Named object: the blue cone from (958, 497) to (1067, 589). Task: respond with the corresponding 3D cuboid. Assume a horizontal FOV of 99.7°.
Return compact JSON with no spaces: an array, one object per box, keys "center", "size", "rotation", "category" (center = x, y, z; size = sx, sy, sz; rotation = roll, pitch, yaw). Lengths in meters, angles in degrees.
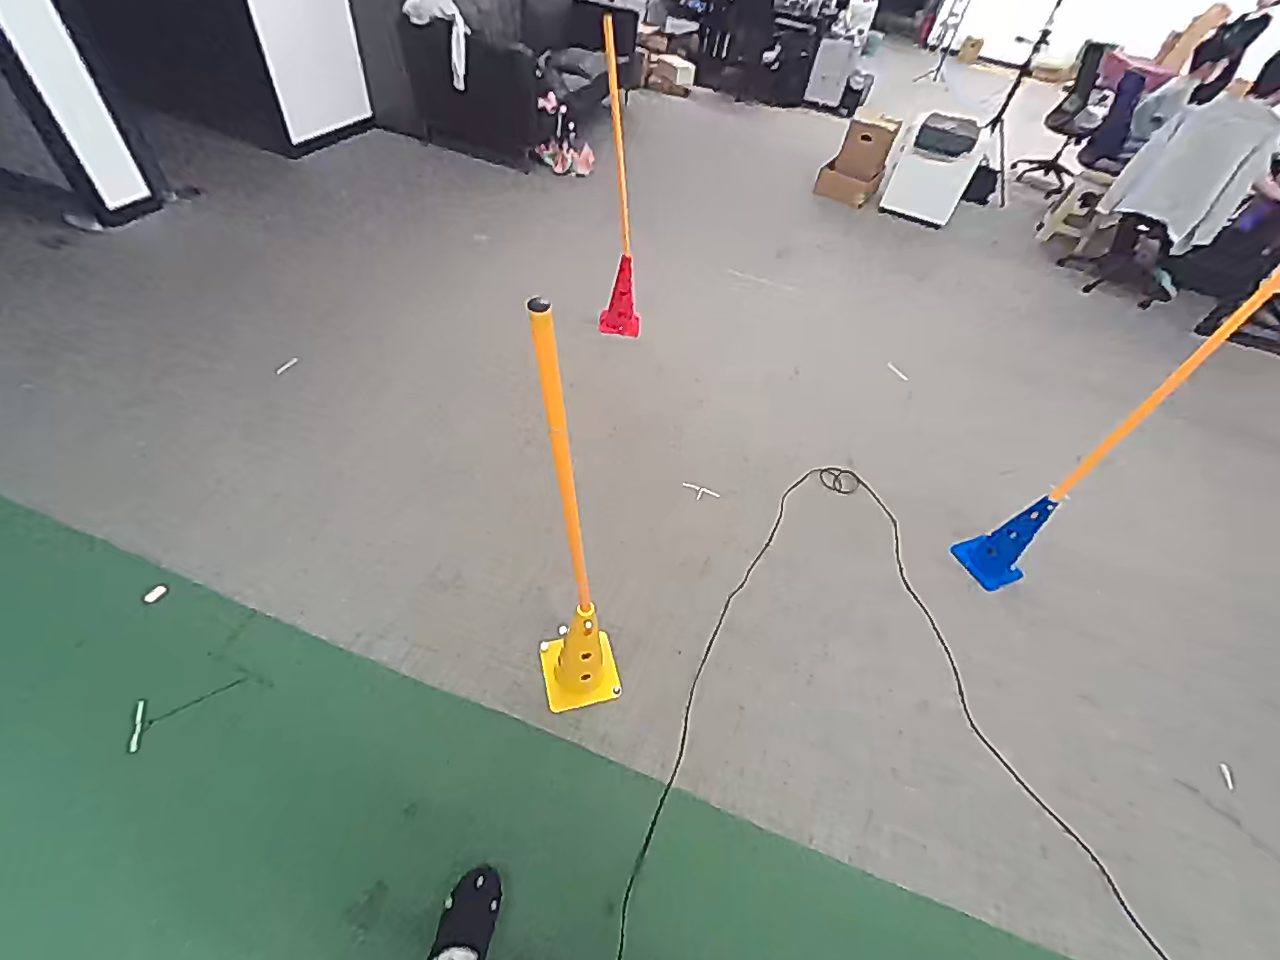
[{"center":[1.295,0.186,1.842],"size":[0.193,0.380,0.192],"rotation":[-13,51,-23],"category":"blue cone"}]
